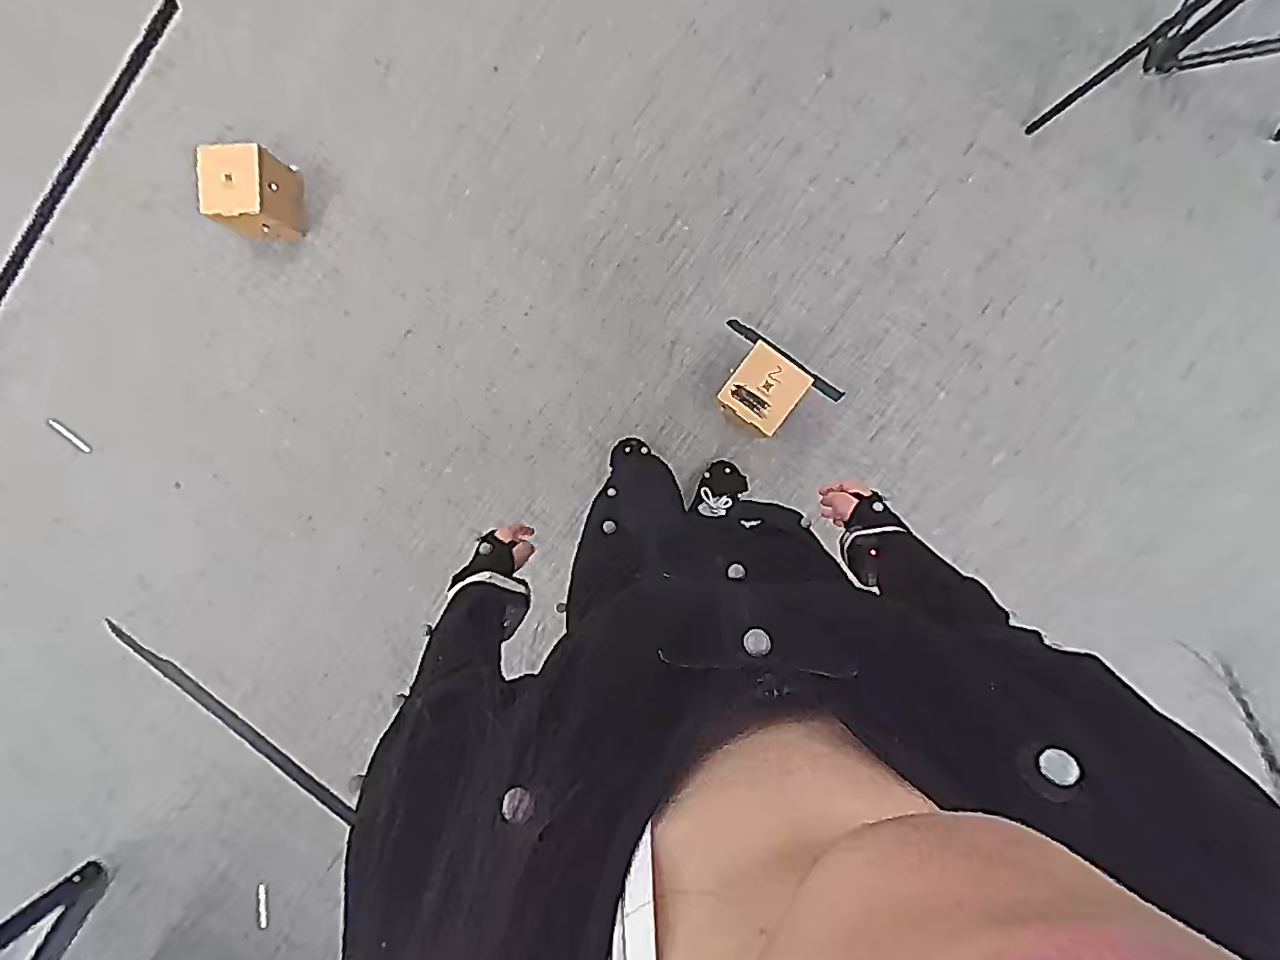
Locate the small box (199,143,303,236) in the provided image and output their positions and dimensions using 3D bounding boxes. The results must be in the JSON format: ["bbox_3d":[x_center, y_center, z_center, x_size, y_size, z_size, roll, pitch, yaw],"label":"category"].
[{"bbox_3d":[-1.039,-0.772,1.458,0.168,0.176,0.179,0,92,3],"label":"small box"}]
